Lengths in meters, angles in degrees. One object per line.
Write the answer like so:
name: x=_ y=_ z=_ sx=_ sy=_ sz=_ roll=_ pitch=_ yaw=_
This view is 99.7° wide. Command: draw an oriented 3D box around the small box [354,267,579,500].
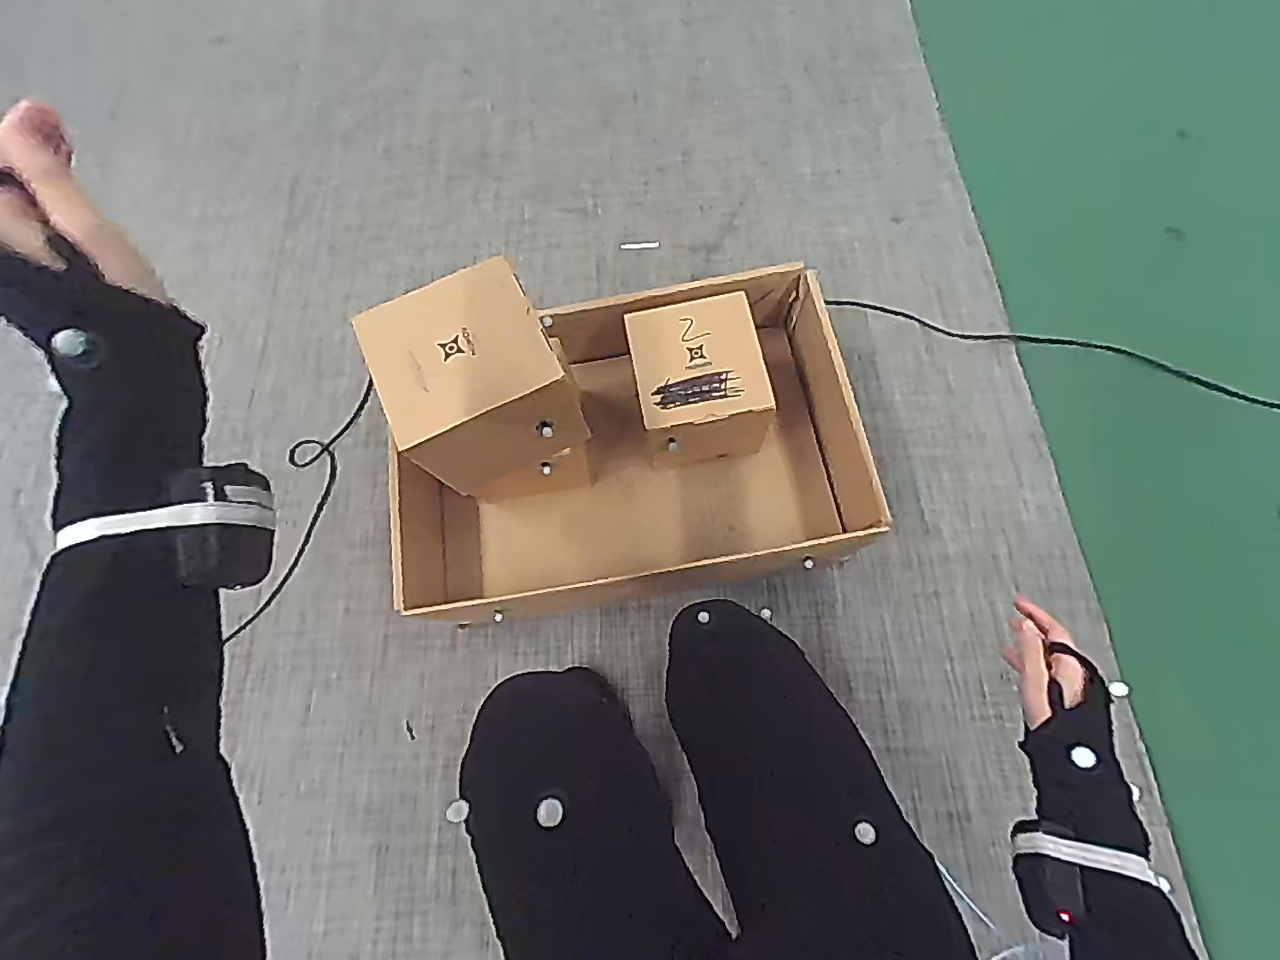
small box: x=-0.180 y=-0.098 z=0.618 sx=0.179 sy=0.176 sz=0.168 roll=-25 pitch=73 yaw=-3

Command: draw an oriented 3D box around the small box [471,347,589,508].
small box: x=-0.179 y=-0.065 z=0.778 sx=0.179 sy=0.176 sz=0.168 roll=-9 pitch=73 yaw=0
